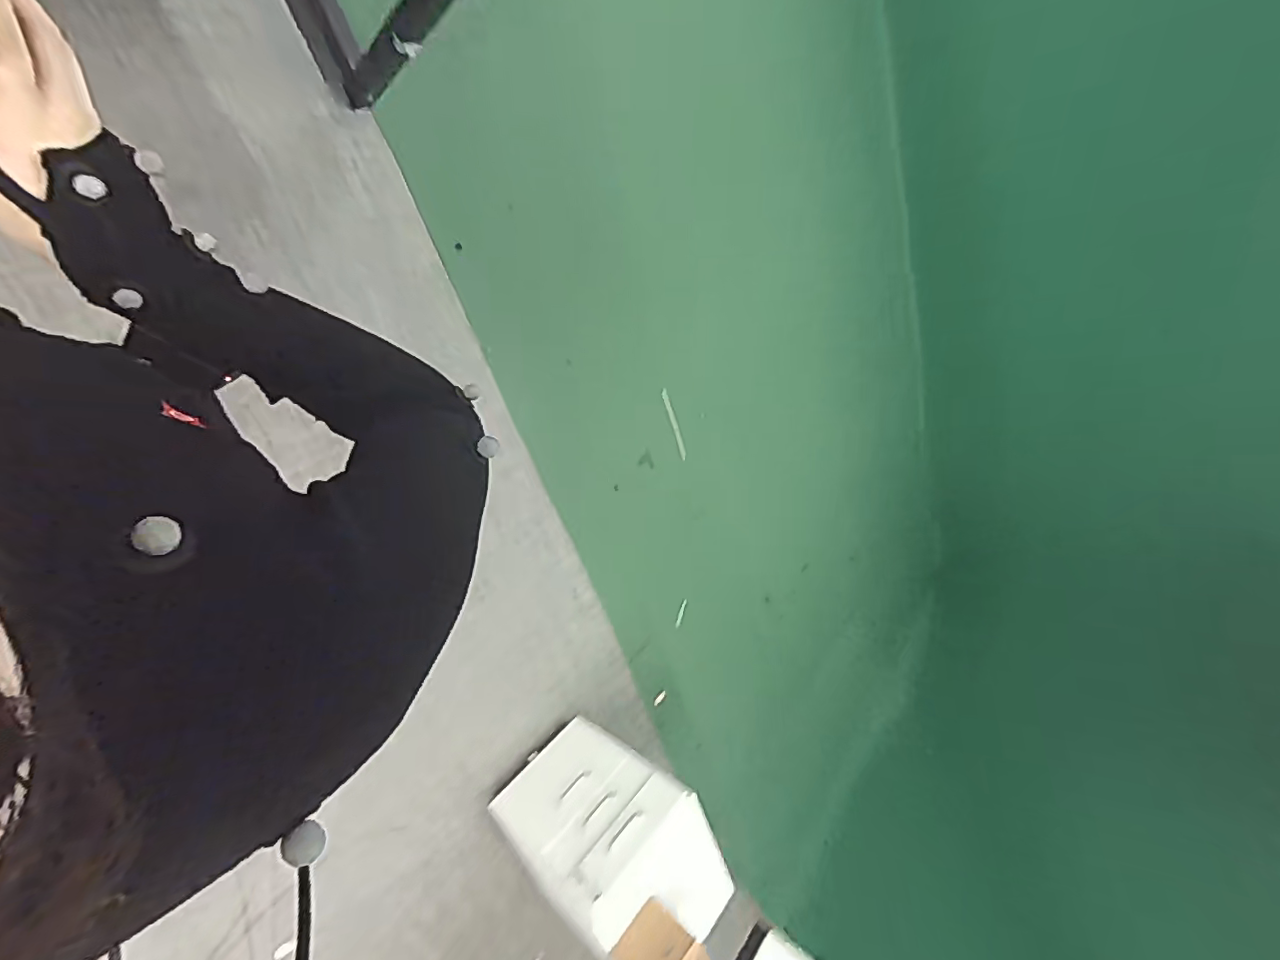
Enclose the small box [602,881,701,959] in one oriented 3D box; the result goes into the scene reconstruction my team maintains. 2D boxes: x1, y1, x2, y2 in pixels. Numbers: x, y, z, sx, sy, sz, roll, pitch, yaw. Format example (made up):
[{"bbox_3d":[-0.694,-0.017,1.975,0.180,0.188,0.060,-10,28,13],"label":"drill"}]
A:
[{"bbox_3d":[0.031,1.219,1.423,0.179,0.176,0.168,-35,119,-36],"label":"small box"}]
